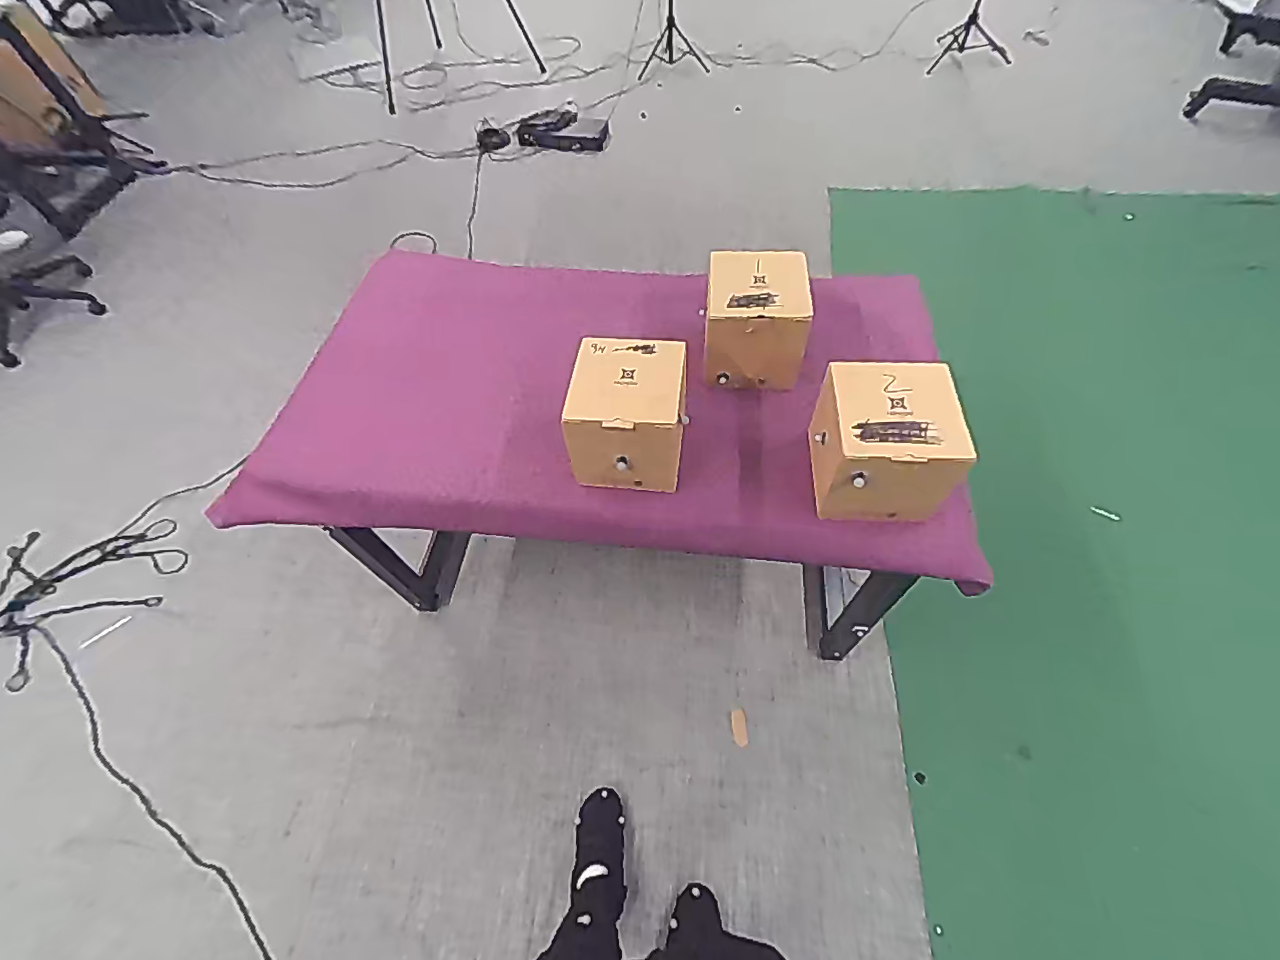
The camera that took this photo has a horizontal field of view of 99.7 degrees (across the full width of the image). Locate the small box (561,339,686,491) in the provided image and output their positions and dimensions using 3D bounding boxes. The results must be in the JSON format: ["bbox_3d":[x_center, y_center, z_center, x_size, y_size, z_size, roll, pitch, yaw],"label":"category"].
[{"bbox_3d":[-0.015,-0.099,0.861,0.168,0.176,0.179,5,56,6],"label":"small box"}]

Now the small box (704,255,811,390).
[{"bbox_3d":[0.203,-0.278,0.967,0.168,0.176,0.179,3,56,5],"label":"small box"}]
